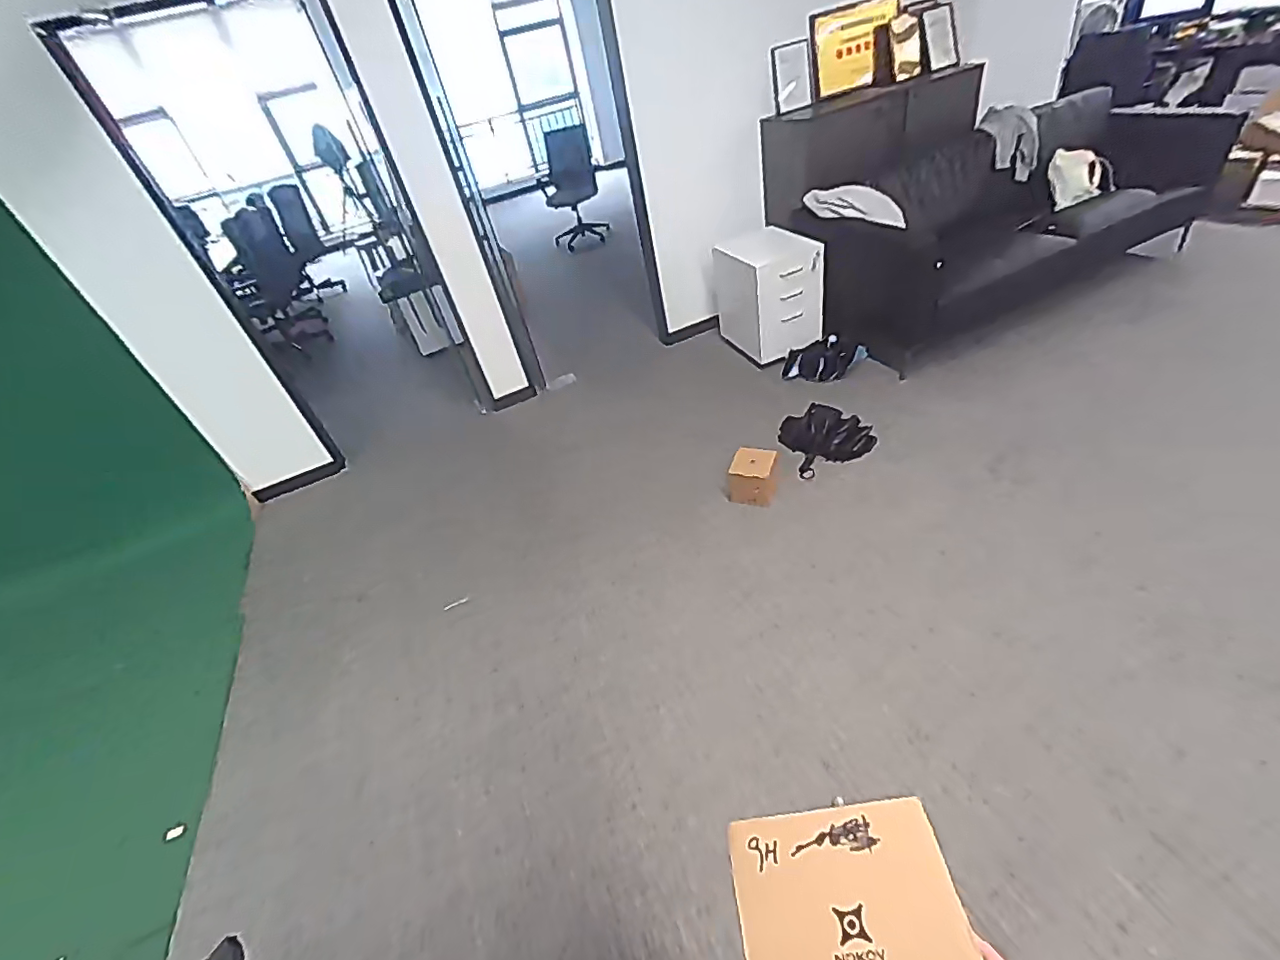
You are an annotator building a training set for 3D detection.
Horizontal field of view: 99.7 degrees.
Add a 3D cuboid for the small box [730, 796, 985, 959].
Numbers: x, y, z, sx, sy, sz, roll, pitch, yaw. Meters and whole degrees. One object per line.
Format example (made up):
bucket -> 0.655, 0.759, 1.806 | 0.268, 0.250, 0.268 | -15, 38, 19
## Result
small box -> 0.179, 0.392, 0.448 | 0.168, 0.176, 0.179 | -12, 41, 8
